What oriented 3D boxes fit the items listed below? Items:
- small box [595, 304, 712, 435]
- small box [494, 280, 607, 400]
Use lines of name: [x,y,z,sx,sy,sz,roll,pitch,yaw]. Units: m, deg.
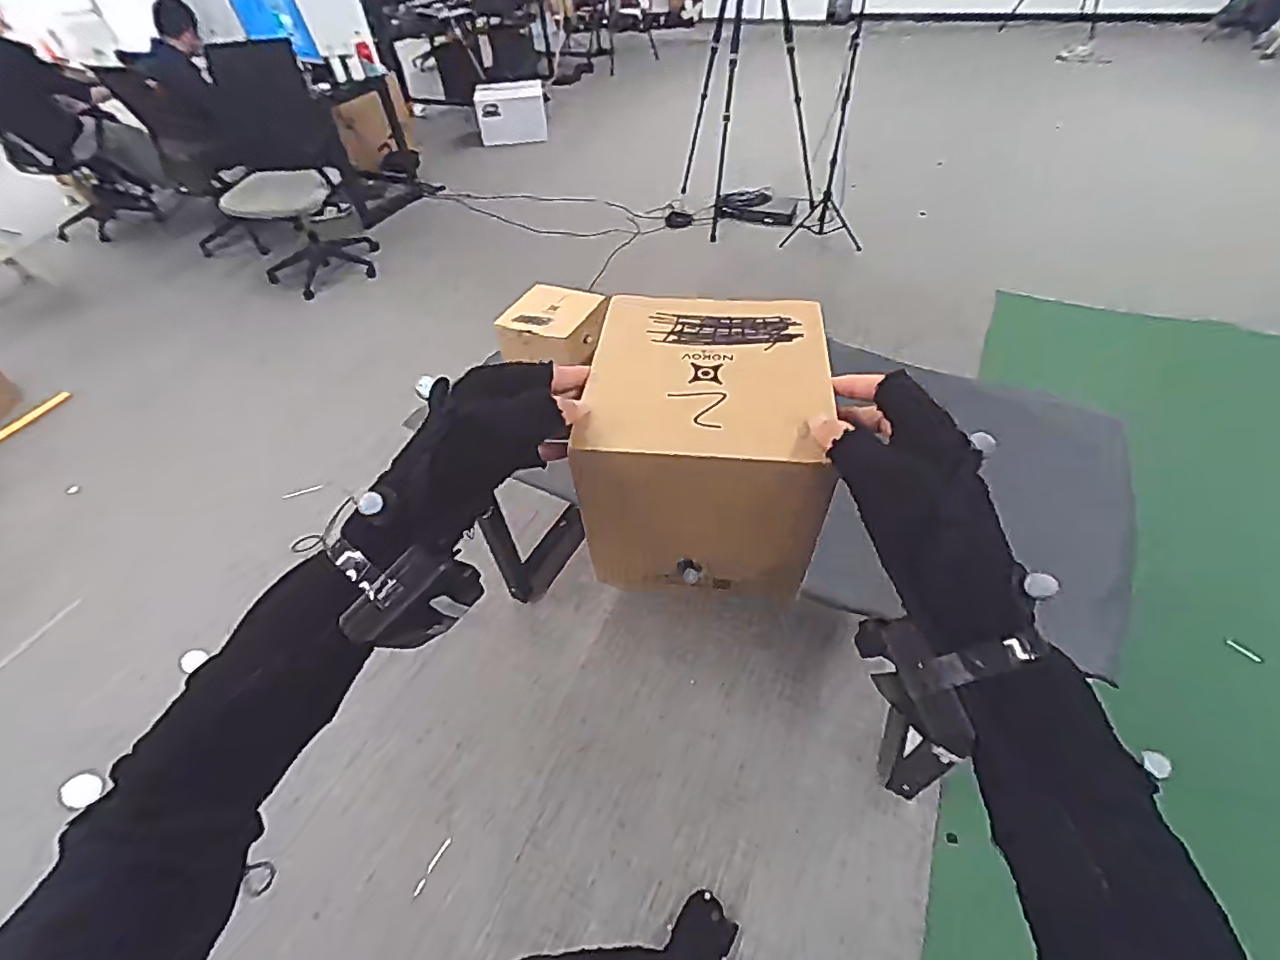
small box: [0.033,-0.214,1.057,0.168,0.176,0.179,19,51,20]
small box: [-0.174,-0.293,1.139,0.168,0.176,0.179,17,50,18]
